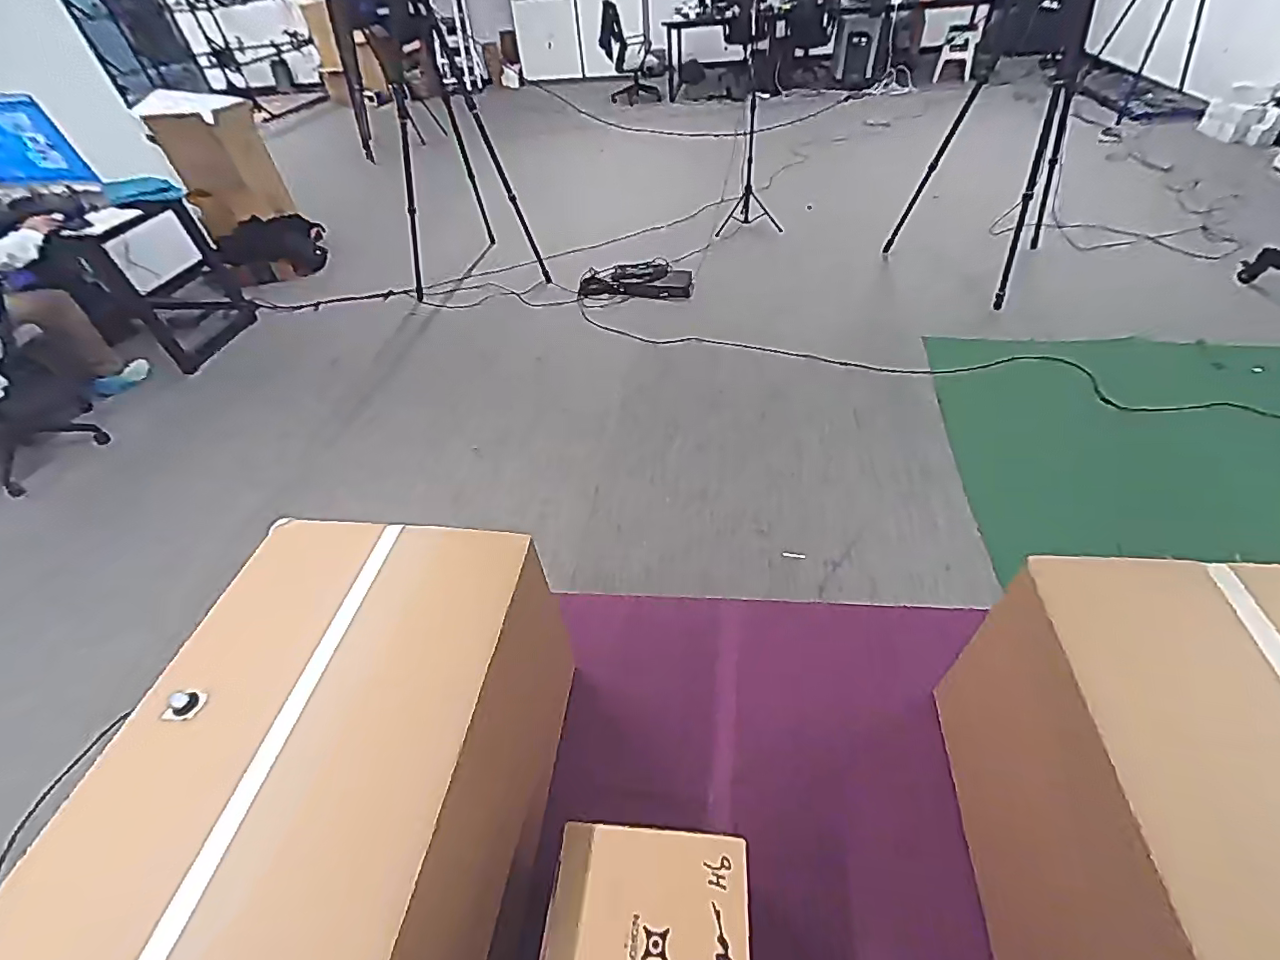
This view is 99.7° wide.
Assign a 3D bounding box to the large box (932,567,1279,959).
[{"bbox_3d":[0.513,0.338,0.485,0.320,0.320,0.408,3,46,9],"label":"large box"}]
